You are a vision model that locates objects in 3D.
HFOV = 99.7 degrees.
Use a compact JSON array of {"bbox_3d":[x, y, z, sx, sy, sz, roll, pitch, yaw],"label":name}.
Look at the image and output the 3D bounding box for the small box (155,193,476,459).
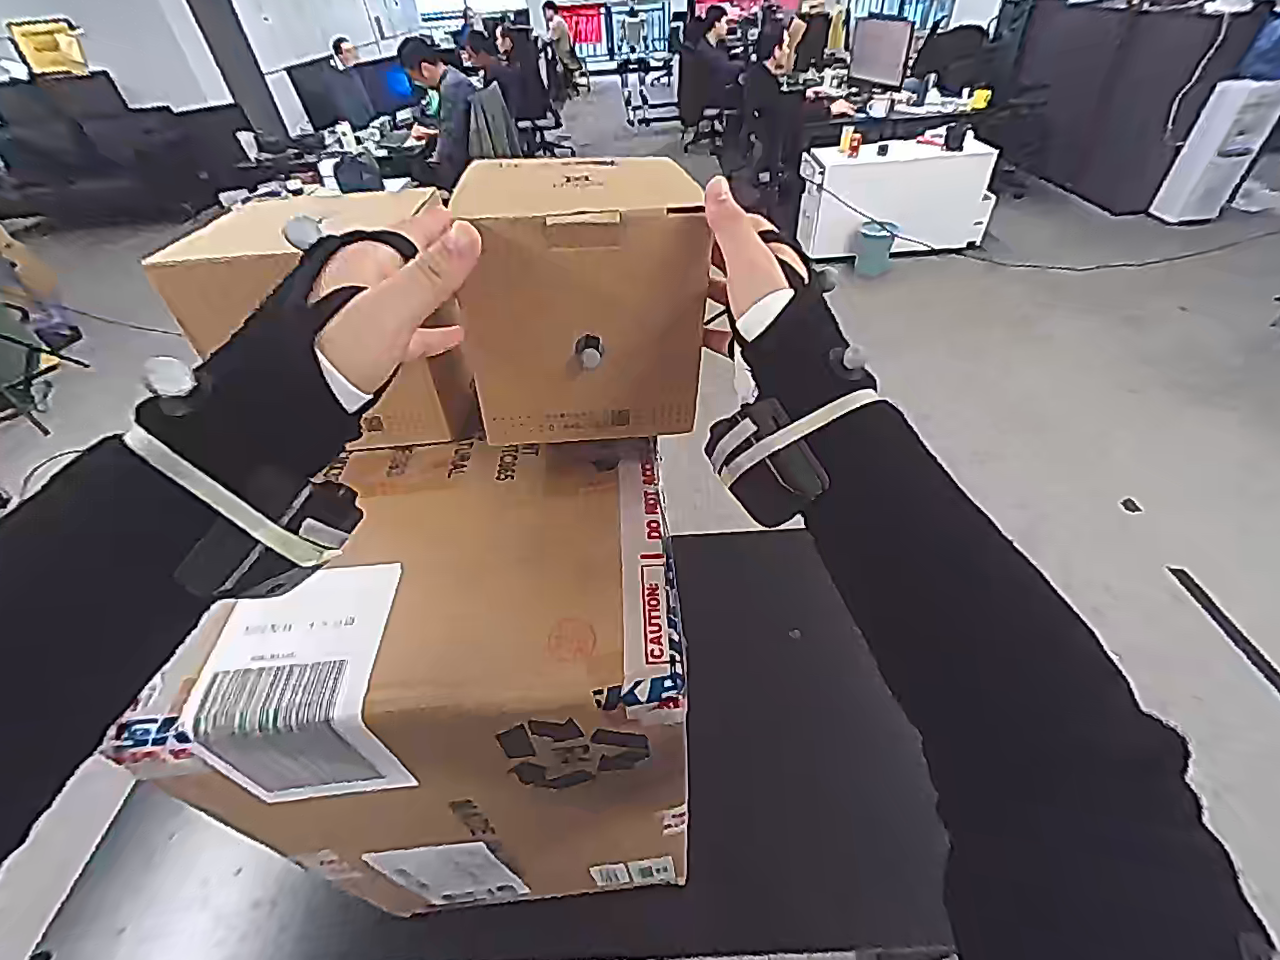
[{"bbox_3d":[-0.252,-0.140,0.481,0.168,0.176,0.179,-6,41,-3],"label":"small box"}]
